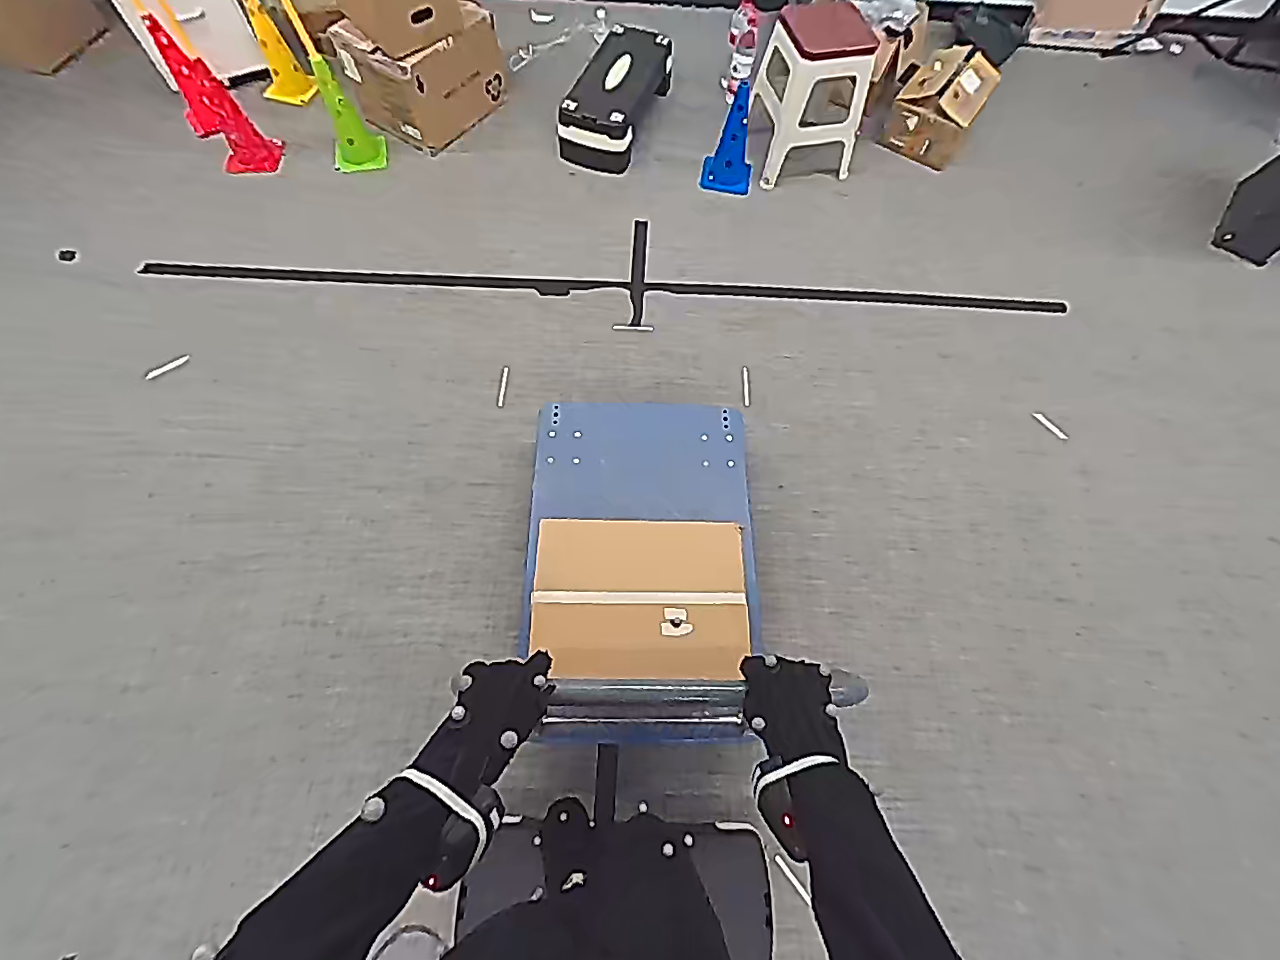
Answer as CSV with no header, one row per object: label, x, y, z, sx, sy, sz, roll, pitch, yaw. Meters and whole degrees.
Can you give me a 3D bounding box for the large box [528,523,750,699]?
large box,-0.011,0.290,1.151,0.408,0.320,0.320,1,66,-3
